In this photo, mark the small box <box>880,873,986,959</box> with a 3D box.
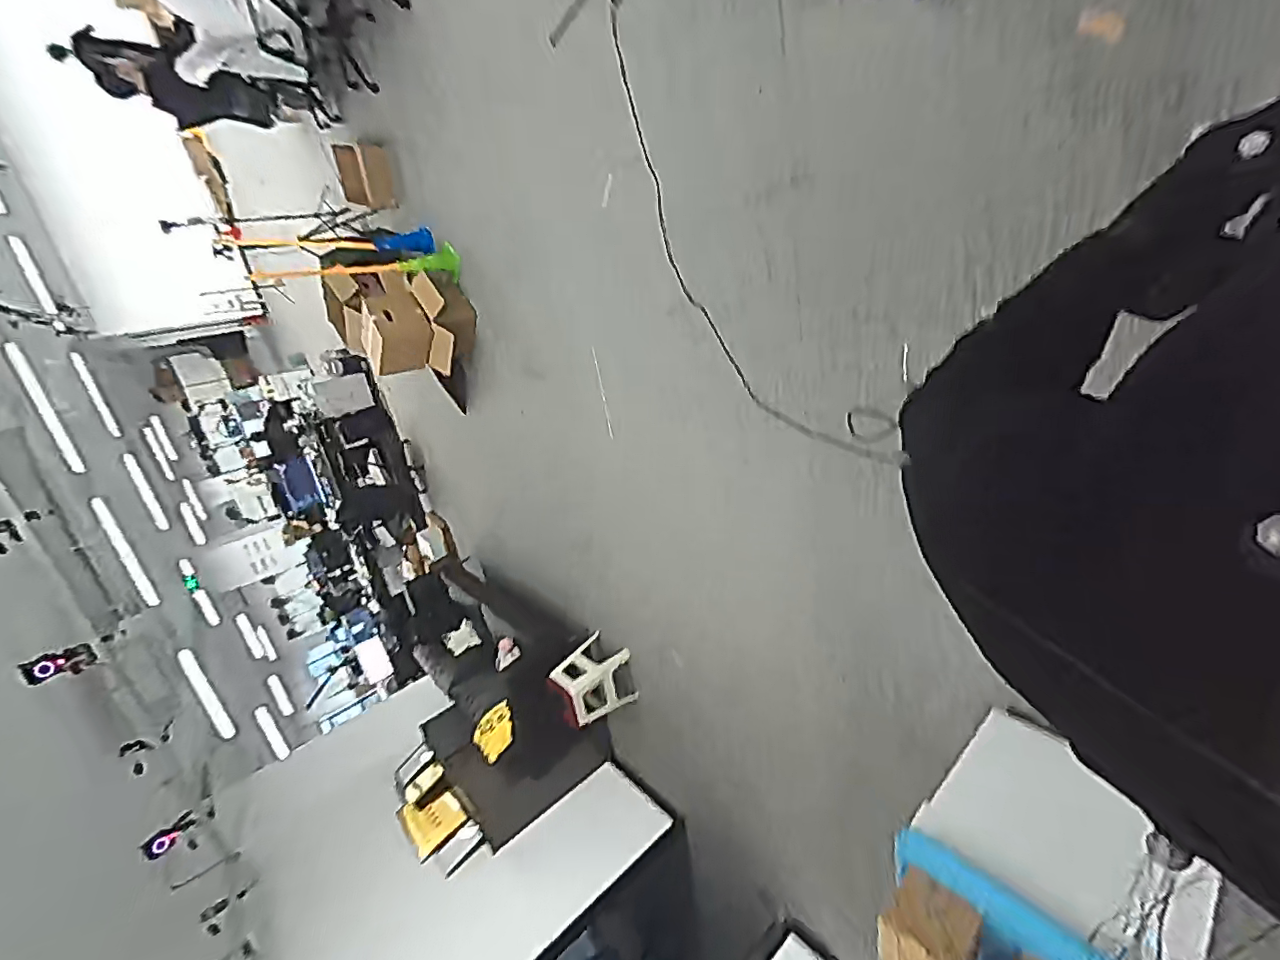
[{"bbox_3d":[0.676,1.070,1.247,0.168,0.176,0.179,16,123,48],"label":"small box"}]
